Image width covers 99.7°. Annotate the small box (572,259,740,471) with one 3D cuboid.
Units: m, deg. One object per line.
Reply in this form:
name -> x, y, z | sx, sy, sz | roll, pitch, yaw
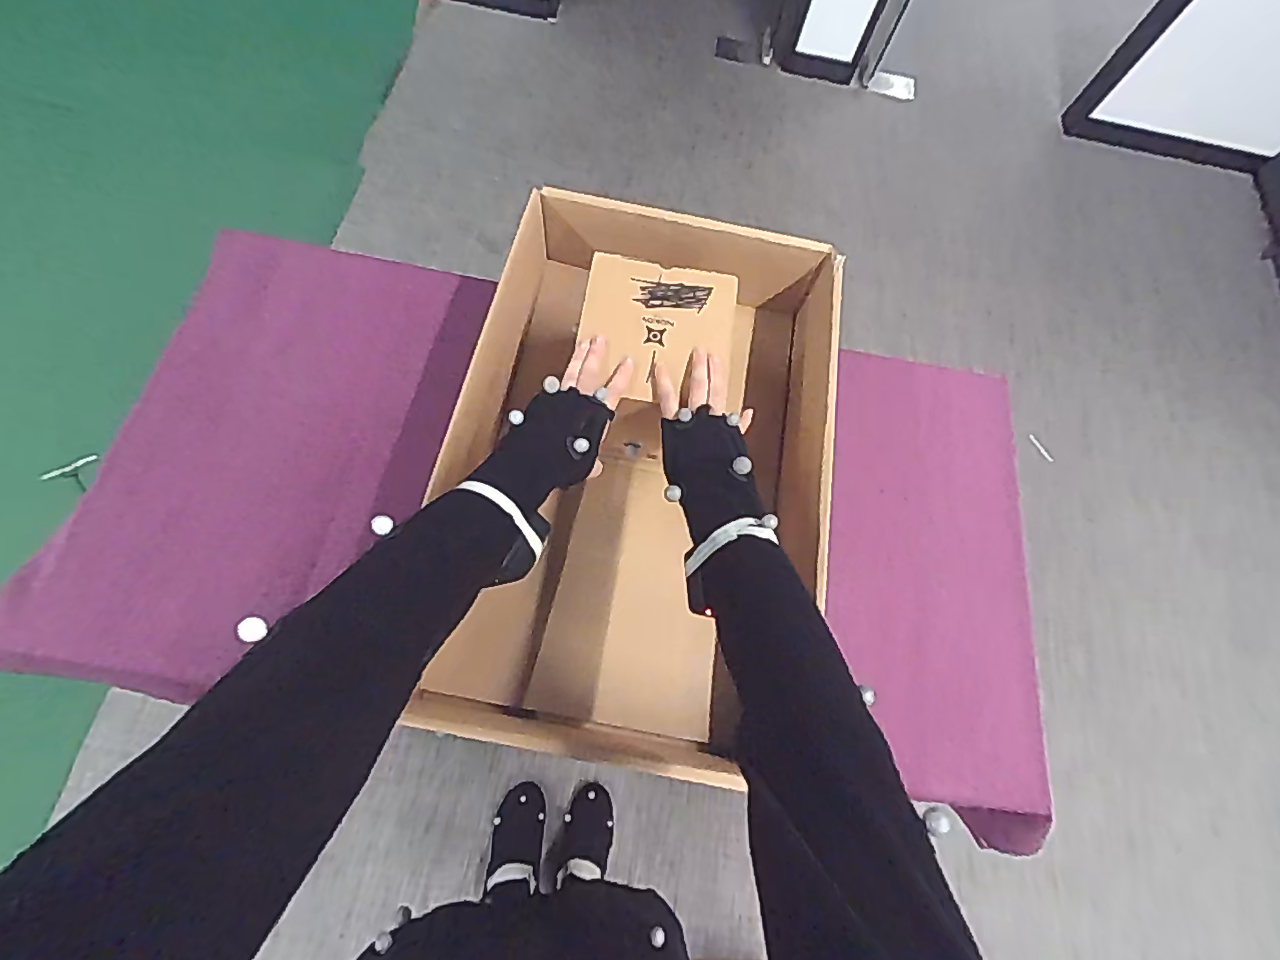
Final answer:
small box -> 0.014, -0.128, 0.653 | 0.168, 0.176, 0.179 | 9, 71, -2
